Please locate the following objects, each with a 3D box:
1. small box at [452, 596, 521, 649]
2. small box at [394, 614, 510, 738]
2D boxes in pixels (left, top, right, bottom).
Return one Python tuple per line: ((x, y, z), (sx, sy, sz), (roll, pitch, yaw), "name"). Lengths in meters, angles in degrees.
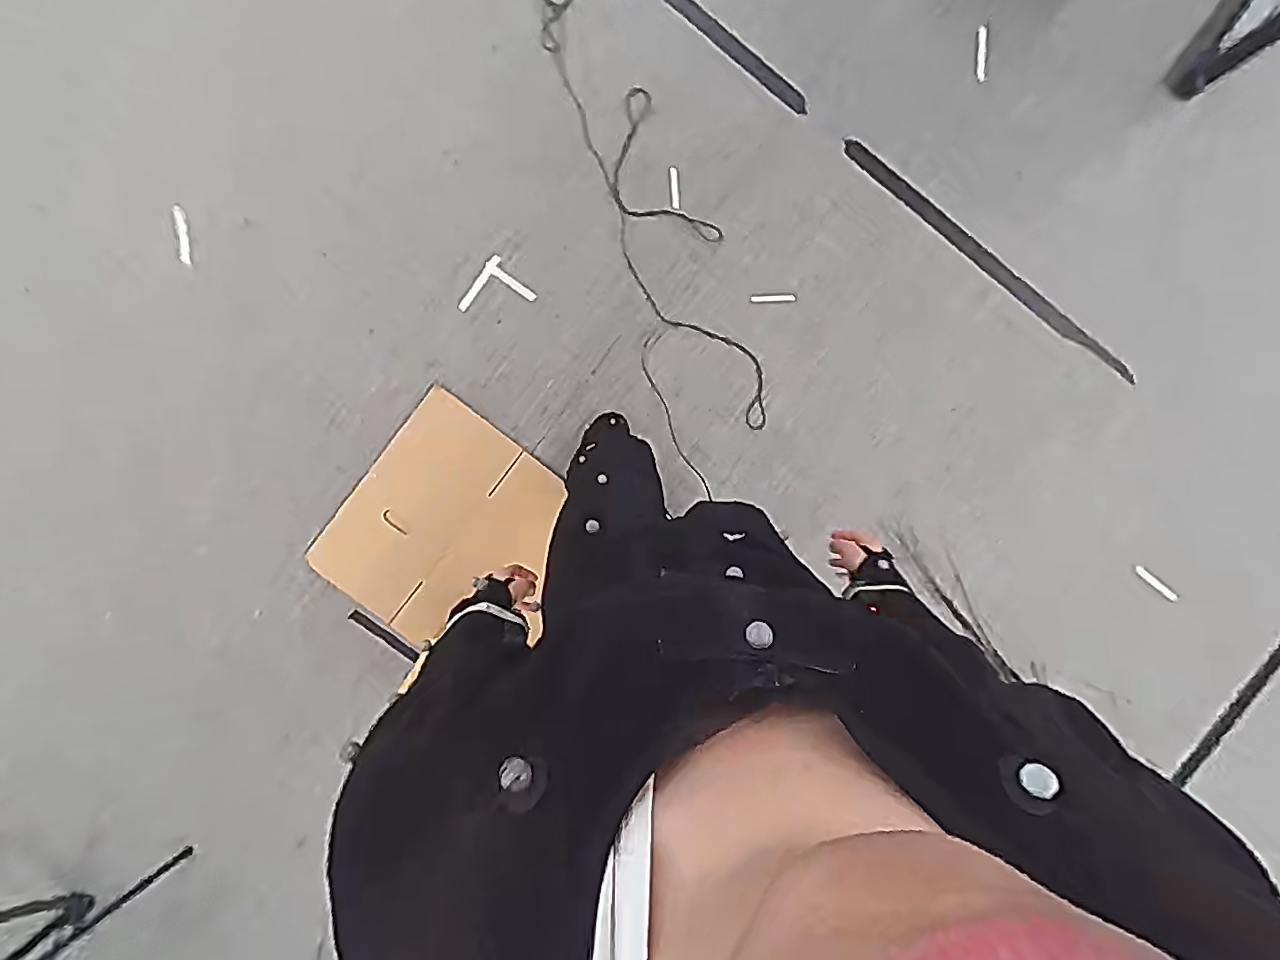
((-0.426, 0.426, 1.404), (0.168, 0.176, 0.179), (30, 91, -3), "small box")
((-0.419, 0.439, 1.240), (0.168, 0.176, 0.179), (32, 92, -4), "small box")
